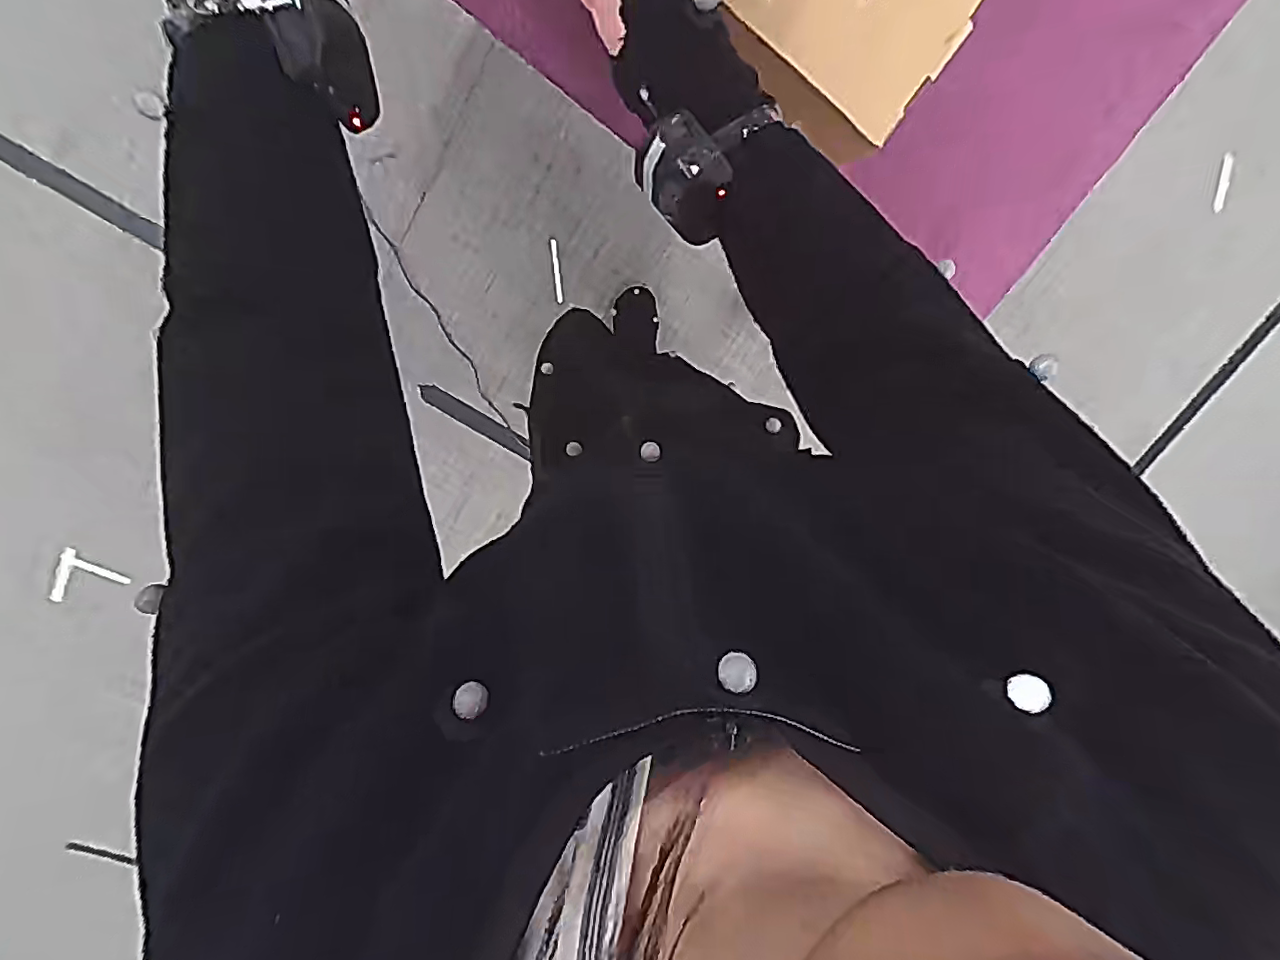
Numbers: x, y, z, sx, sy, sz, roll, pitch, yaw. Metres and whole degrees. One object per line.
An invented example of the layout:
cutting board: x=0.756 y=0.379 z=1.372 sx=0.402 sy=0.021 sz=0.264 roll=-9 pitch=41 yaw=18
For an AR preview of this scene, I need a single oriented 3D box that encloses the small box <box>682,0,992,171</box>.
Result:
small box: x=0.160 y=-0.397 z=0.463 sx=0.179 sy=0.176 sz=0.168 roll=32 pitch=104 yaw=-16
